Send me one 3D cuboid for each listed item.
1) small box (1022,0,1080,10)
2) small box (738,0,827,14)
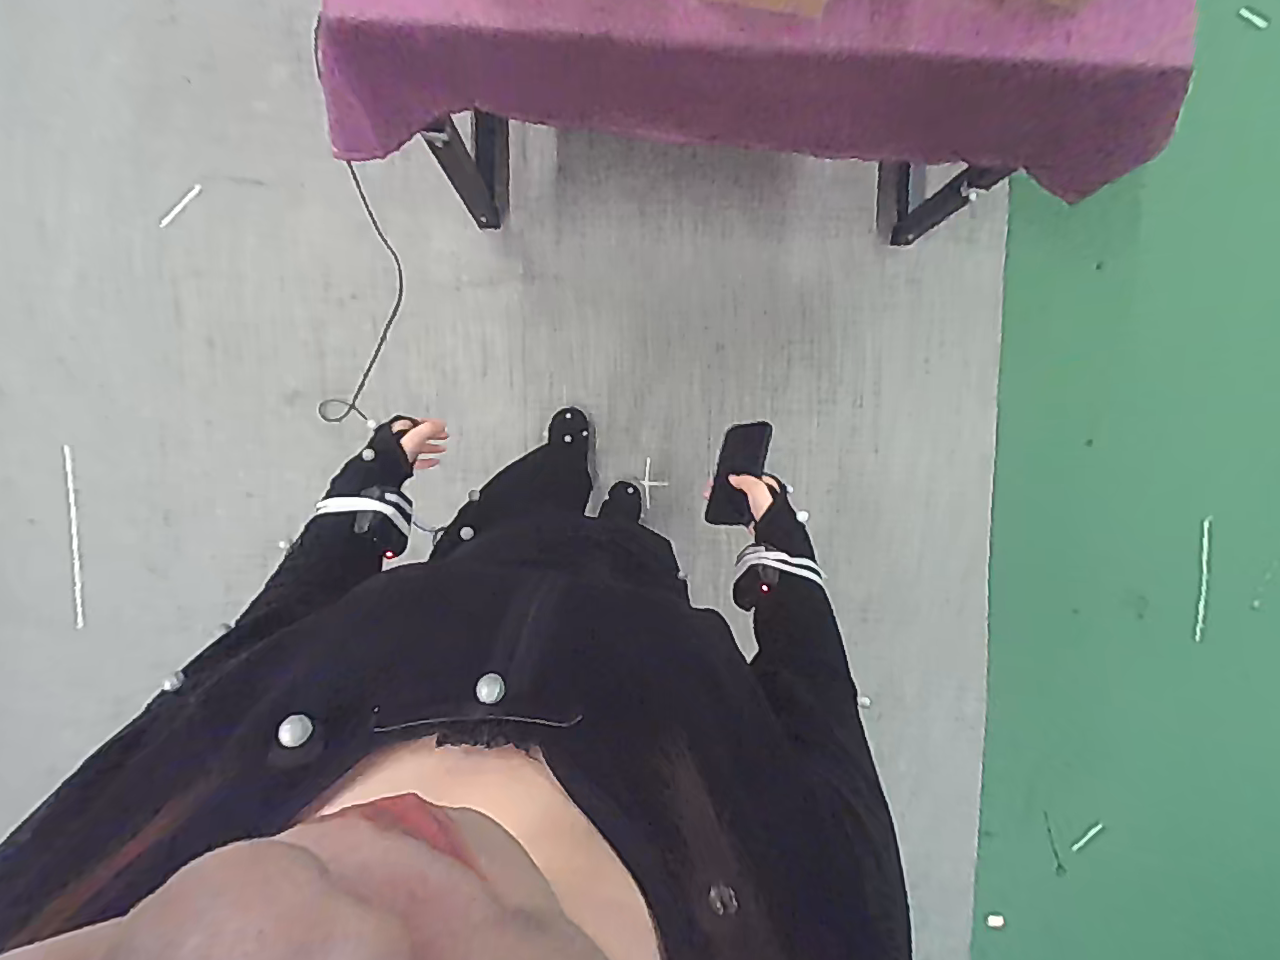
[{"bbox_3d":[0.552,-0.743,0.673,0.179,0.176,0.168,9,93,-4],"label":"small box"},{"bbox_3d":[0.182,-0.720,0.653,0.179,0.176,0.168,7,93,-5],"label":"small box"}]
